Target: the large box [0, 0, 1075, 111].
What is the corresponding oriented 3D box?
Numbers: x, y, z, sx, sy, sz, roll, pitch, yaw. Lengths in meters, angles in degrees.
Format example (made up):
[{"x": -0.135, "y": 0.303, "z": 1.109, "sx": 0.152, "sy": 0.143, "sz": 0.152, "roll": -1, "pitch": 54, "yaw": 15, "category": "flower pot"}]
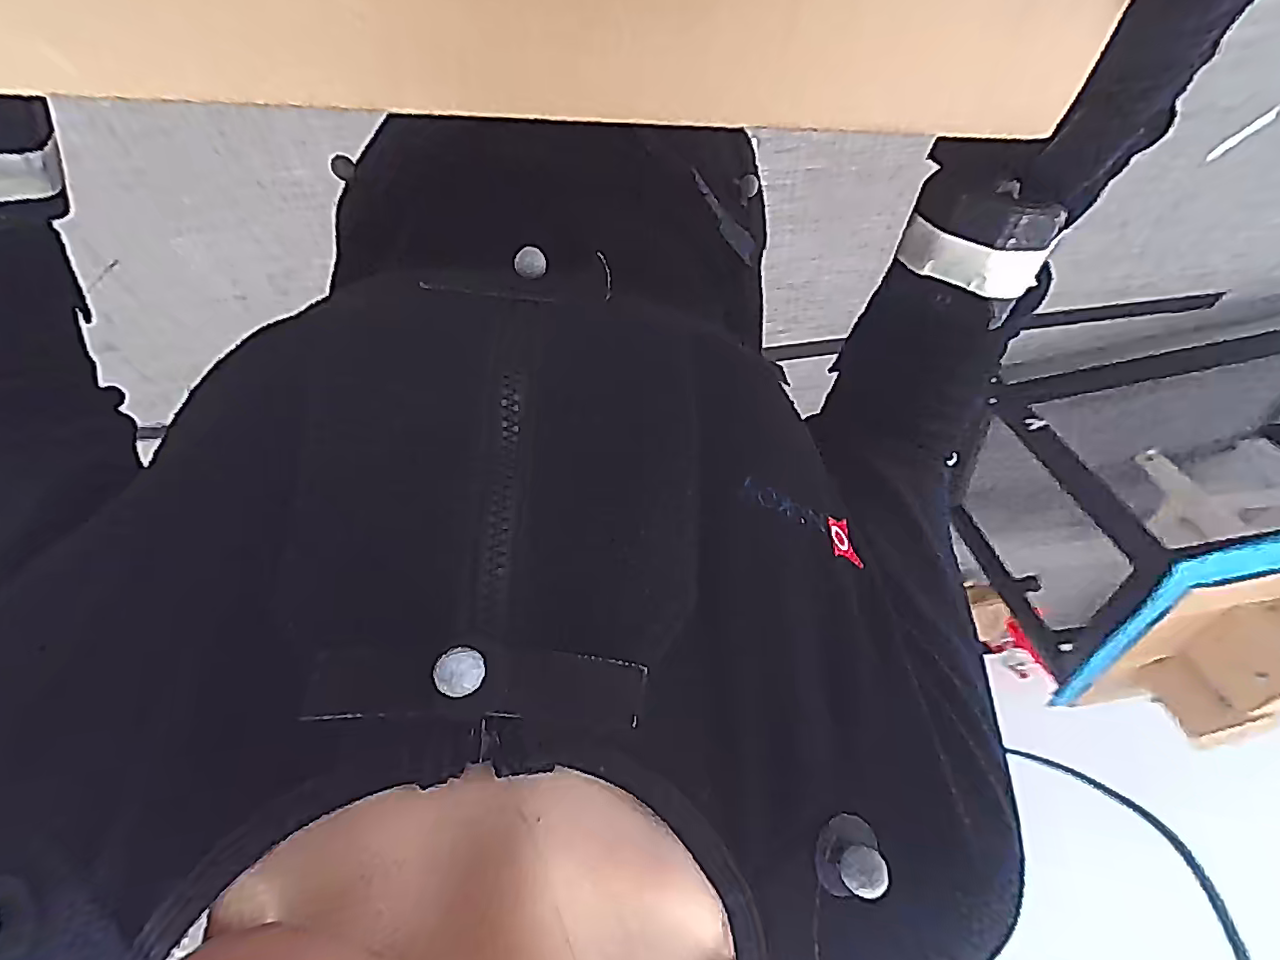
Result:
[{"x": -0.049, "y": -0.352, "z": 0.174, "sx": 0.408, "sy": 0.320, "sz": 0.320, "roll": -2, "pitch": 140, "yaw": -5, "category": "large box"}]
